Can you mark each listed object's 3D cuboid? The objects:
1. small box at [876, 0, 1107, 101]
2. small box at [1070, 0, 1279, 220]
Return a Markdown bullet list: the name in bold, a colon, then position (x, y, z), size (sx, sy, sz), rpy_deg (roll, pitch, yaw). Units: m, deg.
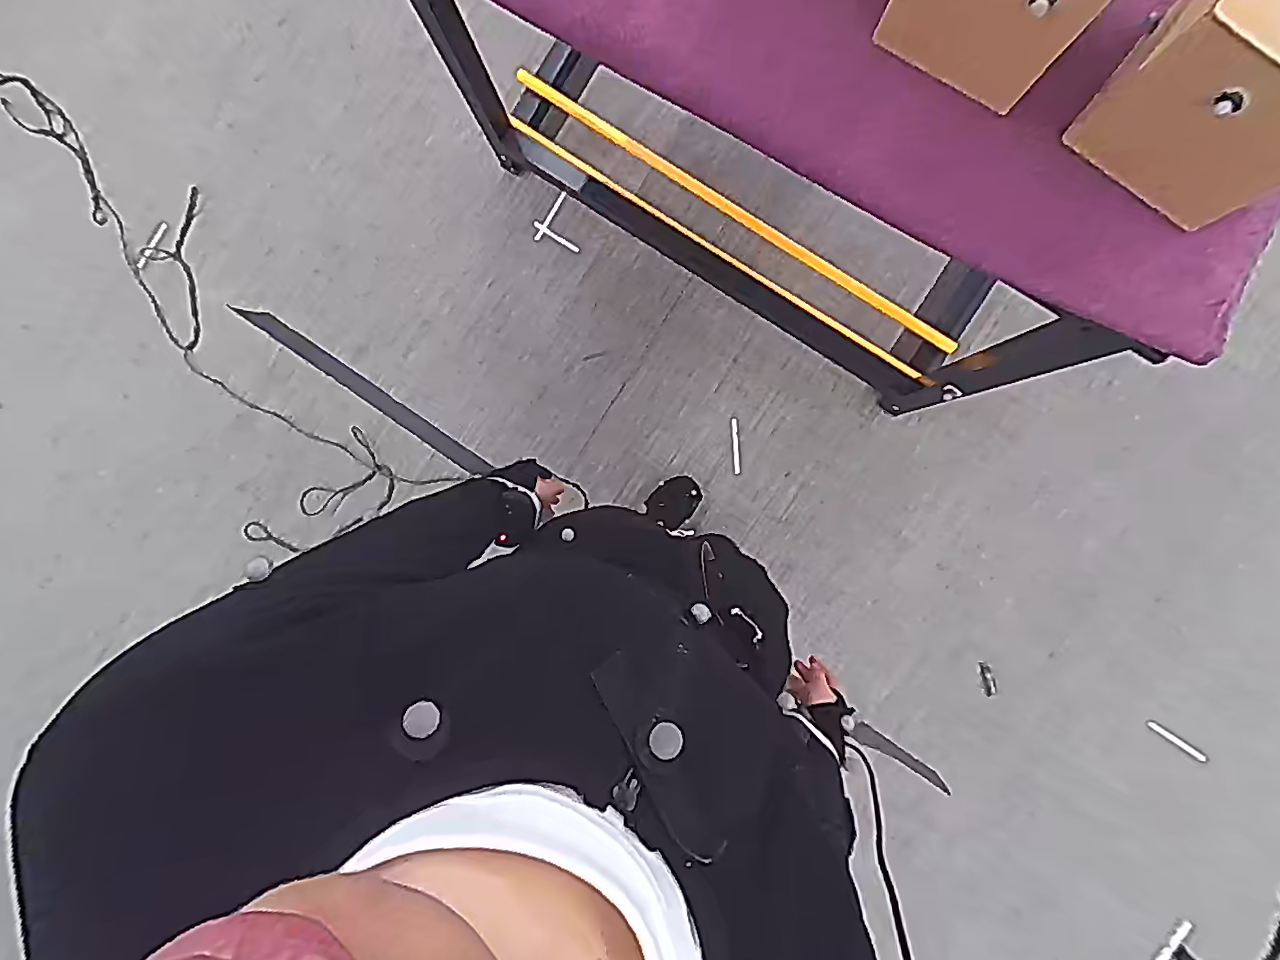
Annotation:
- **small box**: position (0.373, -0.523, 0.528), size (0.179, 0.176, 0.168), rpy_deg (32, 90, 3)
- **small box**: position (0.580, -0.391, 0.516), size (0.179, 0.176, 0.168), rpy_deg (38, 91, 2)
